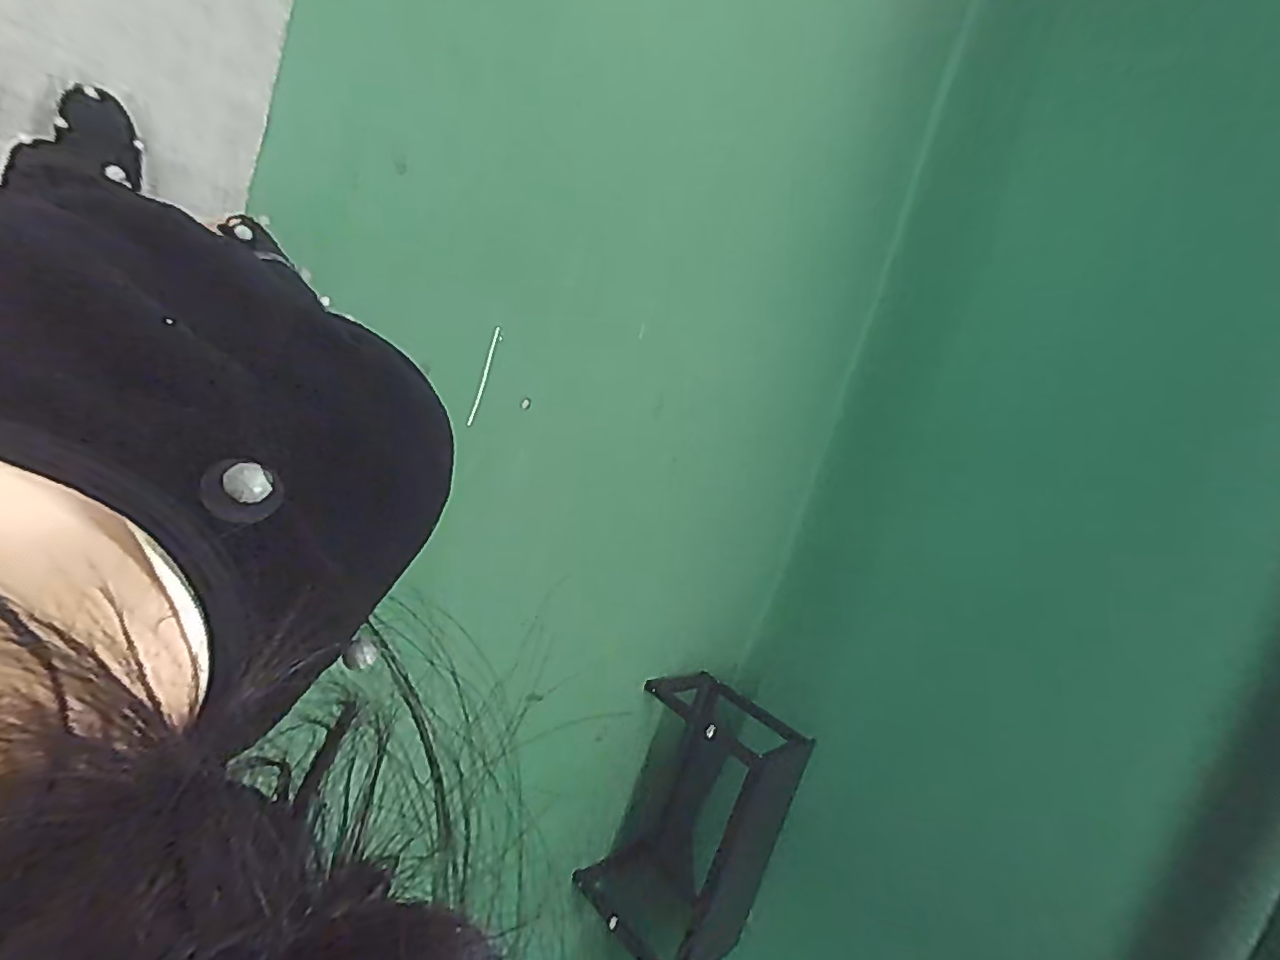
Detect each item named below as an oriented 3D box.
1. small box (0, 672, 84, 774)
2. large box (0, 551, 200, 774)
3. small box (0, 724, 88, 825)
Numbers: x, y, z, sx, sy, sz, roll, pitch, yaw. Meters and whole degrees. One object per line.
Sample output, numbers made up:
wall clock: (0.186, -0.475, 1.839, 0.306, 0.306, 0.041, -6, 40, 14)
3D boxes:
small box: (-1.000, 0.427, 0.847, 0.168, 0.176, 0.179, -8, 112, -45)
large box: (-1.144, 0.366, 1.039, 0.408, 0.320, 0.320, -10, 115, -46)
small box: (-0.888, 0.477, 0.739, 0.179, 0.176, 0.168, -10, 113, -45)
